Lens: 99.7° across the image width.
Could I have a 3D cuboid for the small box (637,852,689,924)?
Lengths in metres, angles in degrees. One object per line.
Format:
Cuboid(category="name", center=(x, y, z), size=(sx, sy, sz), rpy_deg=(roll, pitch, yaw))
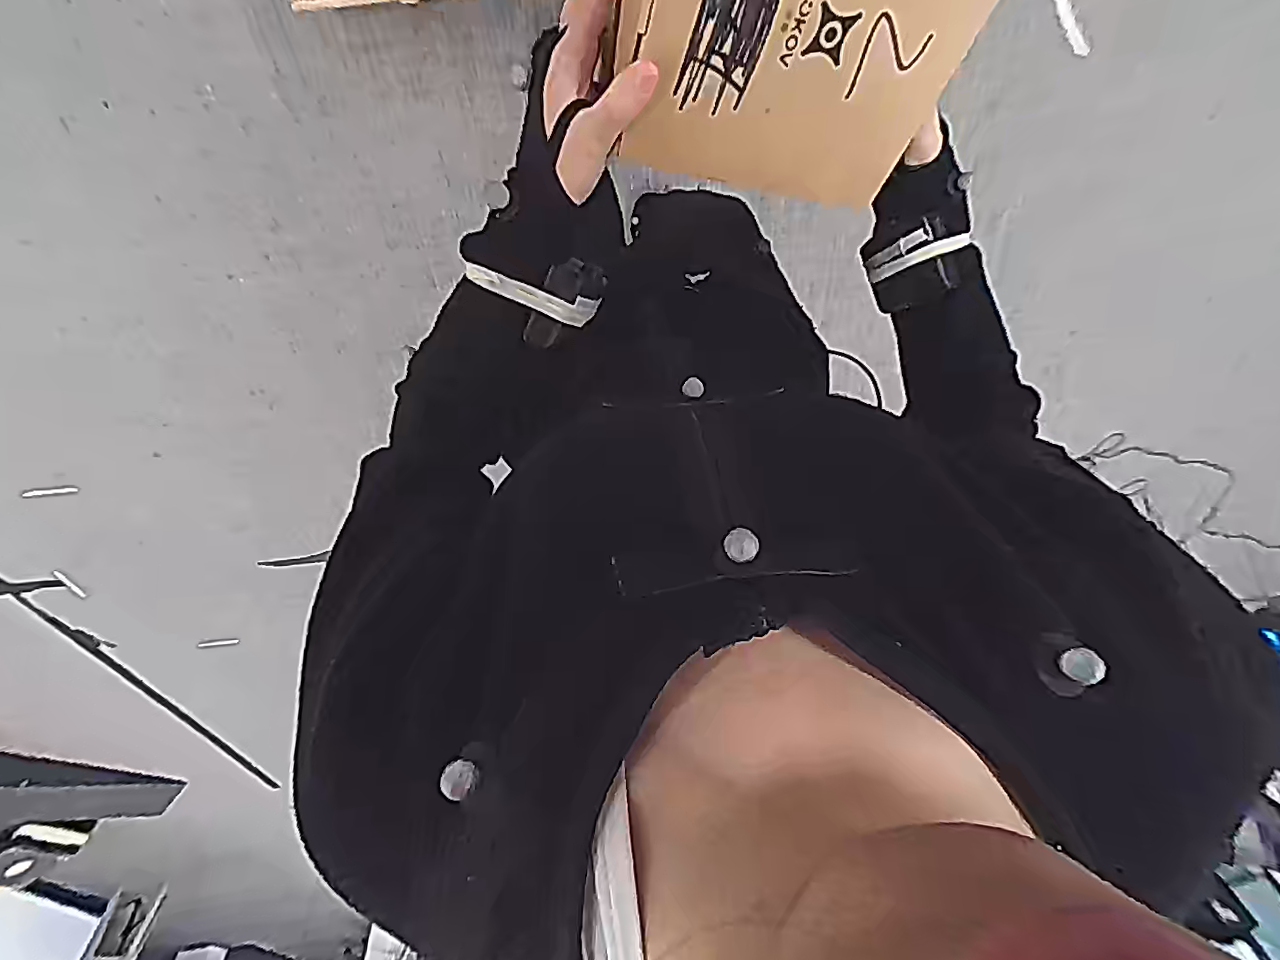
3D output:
Cuboid(category="small box", center=(0.080, 1.496, 1.984), size=(0.168, 0.176, 0.179), rpy_deg=(-3, 128, -6))
